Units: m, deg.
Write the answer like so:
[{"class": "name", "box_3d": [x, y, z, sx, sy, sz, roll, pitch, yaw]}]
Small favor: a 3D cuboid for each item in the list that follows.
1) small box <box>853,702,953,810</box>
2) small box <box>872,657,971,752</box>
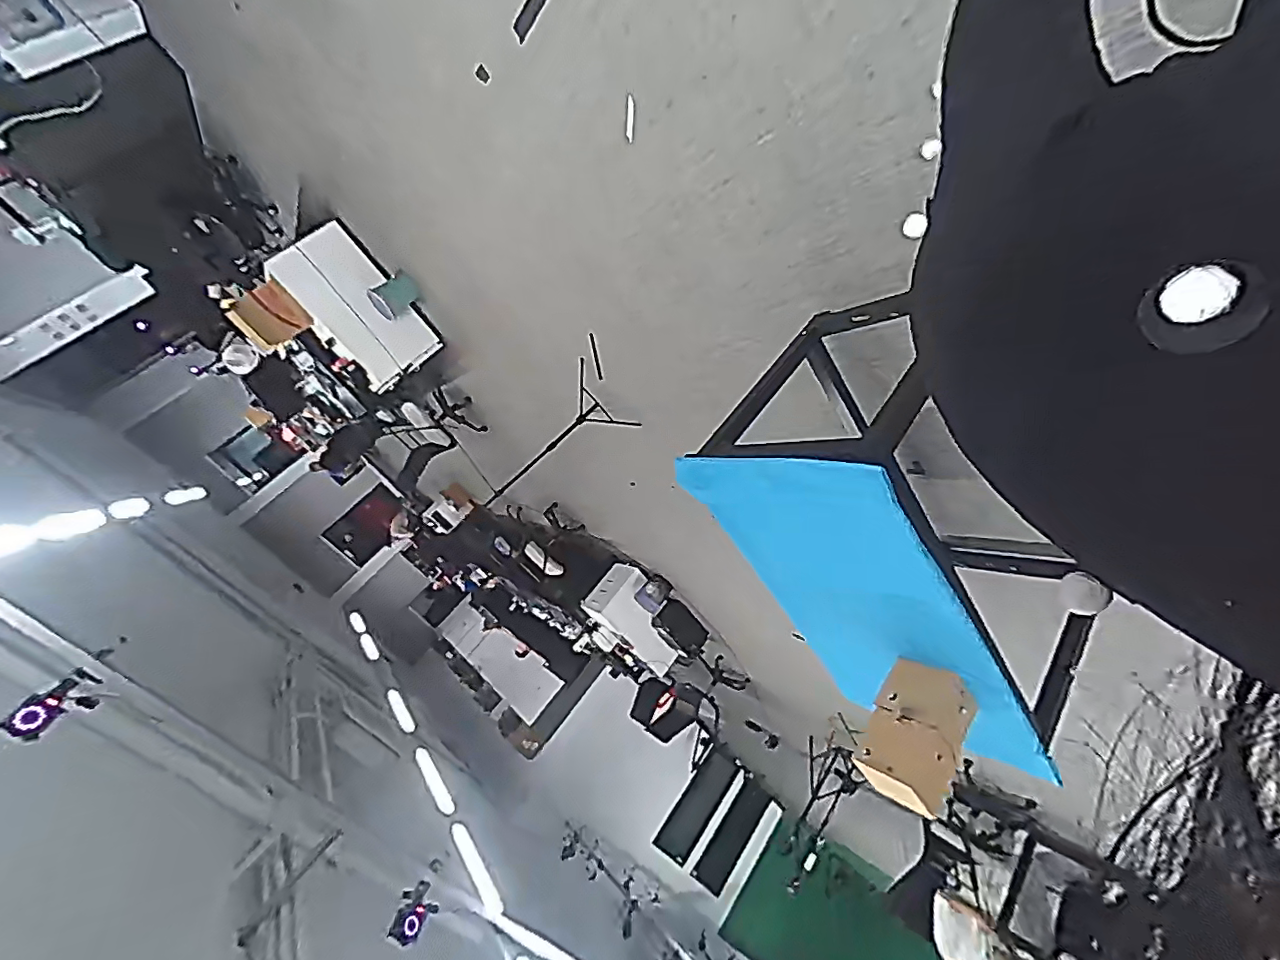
[{"class": "small box", "box_3d": [0.703, 0.743, 1.456, 0.179, 0.176, 0.168, 53, 155, -23]}, {"class": "small box", "box_3d": [0.800, 0.631, 1.533, 0.179, 0.176, 0.168, 2, 136, 54]}]
